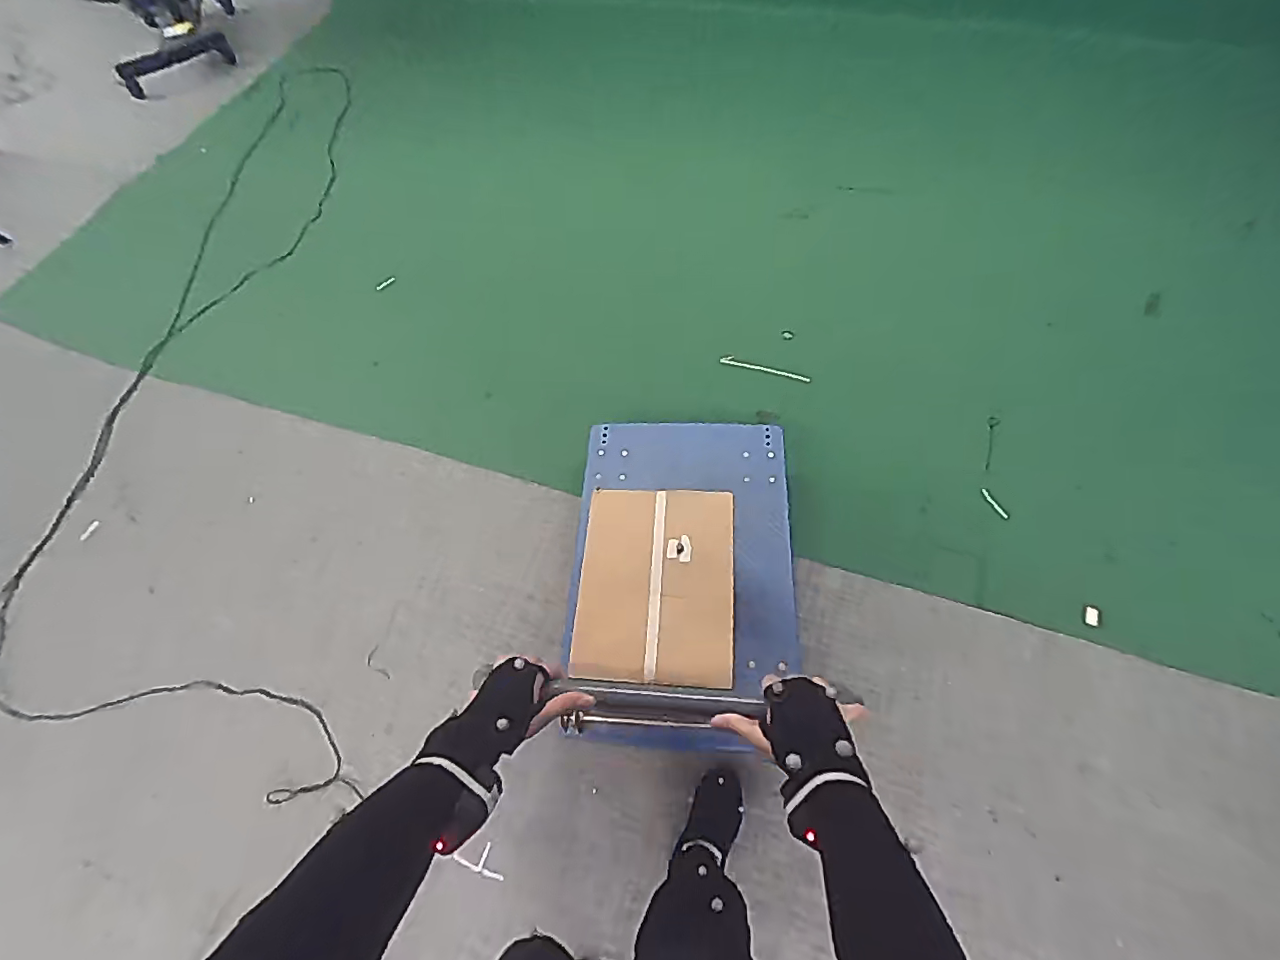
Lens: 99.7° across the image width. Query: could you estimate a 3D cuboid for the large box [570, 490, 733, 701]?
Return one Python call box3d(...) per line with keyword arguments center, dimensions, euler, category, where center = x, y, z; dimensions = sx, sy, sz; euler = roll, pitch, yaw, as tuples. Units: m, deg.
box3d(center=(0.044, 0.272, 1.238), dimensions=(0.320, 0.320, 0.408), euler=(1, 62, 6), category="large box")
